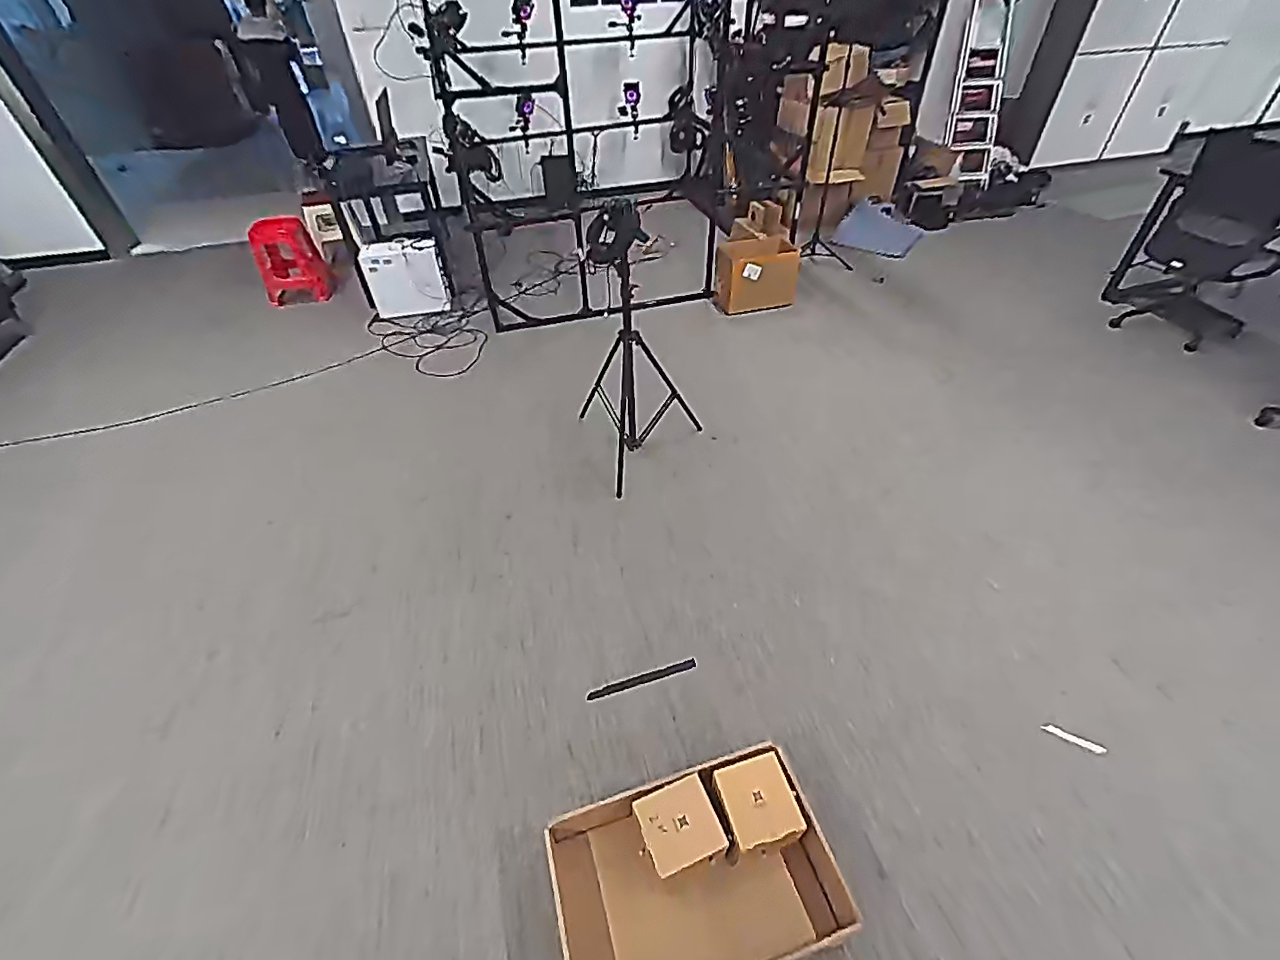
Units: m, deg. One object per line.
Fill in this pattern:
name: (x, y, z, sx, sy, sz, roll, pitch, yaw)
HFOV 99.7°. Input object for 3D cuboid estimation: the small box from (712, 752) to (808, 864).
small box: (0.286, 0.810, 1.336, 0.168, 0.176, 0.179, -14, 47, -10)
